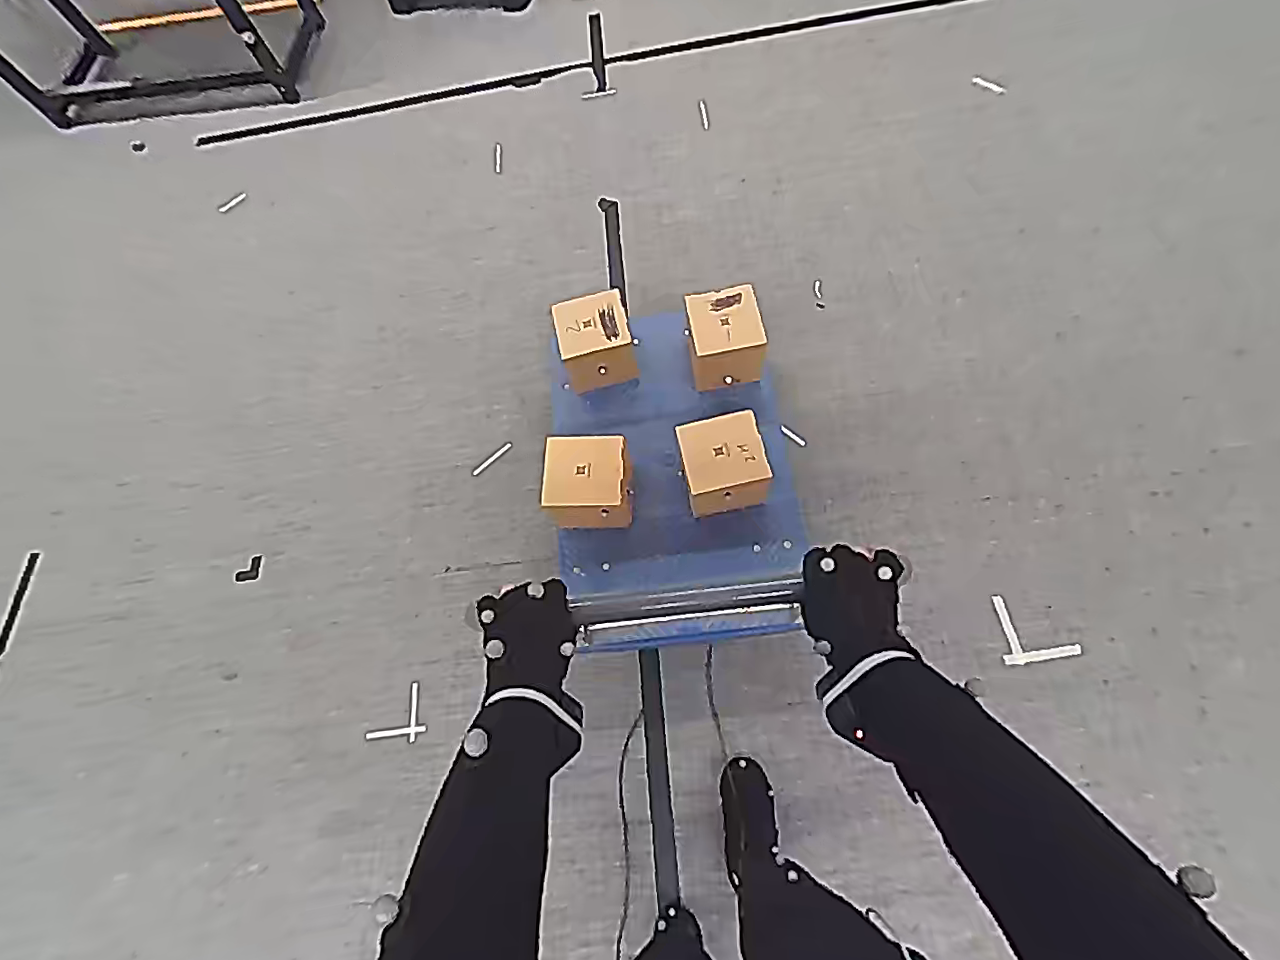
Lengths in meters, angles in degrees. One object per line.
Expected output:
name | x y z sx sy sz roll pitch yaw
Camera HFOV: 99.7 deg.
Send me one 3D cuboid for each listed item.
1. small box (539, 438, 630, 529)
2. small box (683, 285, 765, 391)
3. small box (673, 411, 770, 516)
small box | -0.120 0.013 1.241 0.179 0.176 0.168 -1 69 5
small box | 0.202 -0.346 1.339 0.168 0.176 0.179 -10 69 3
small box | 0.181 -0.029 1.220 0.179 0.176 0.168 -13 68 2
